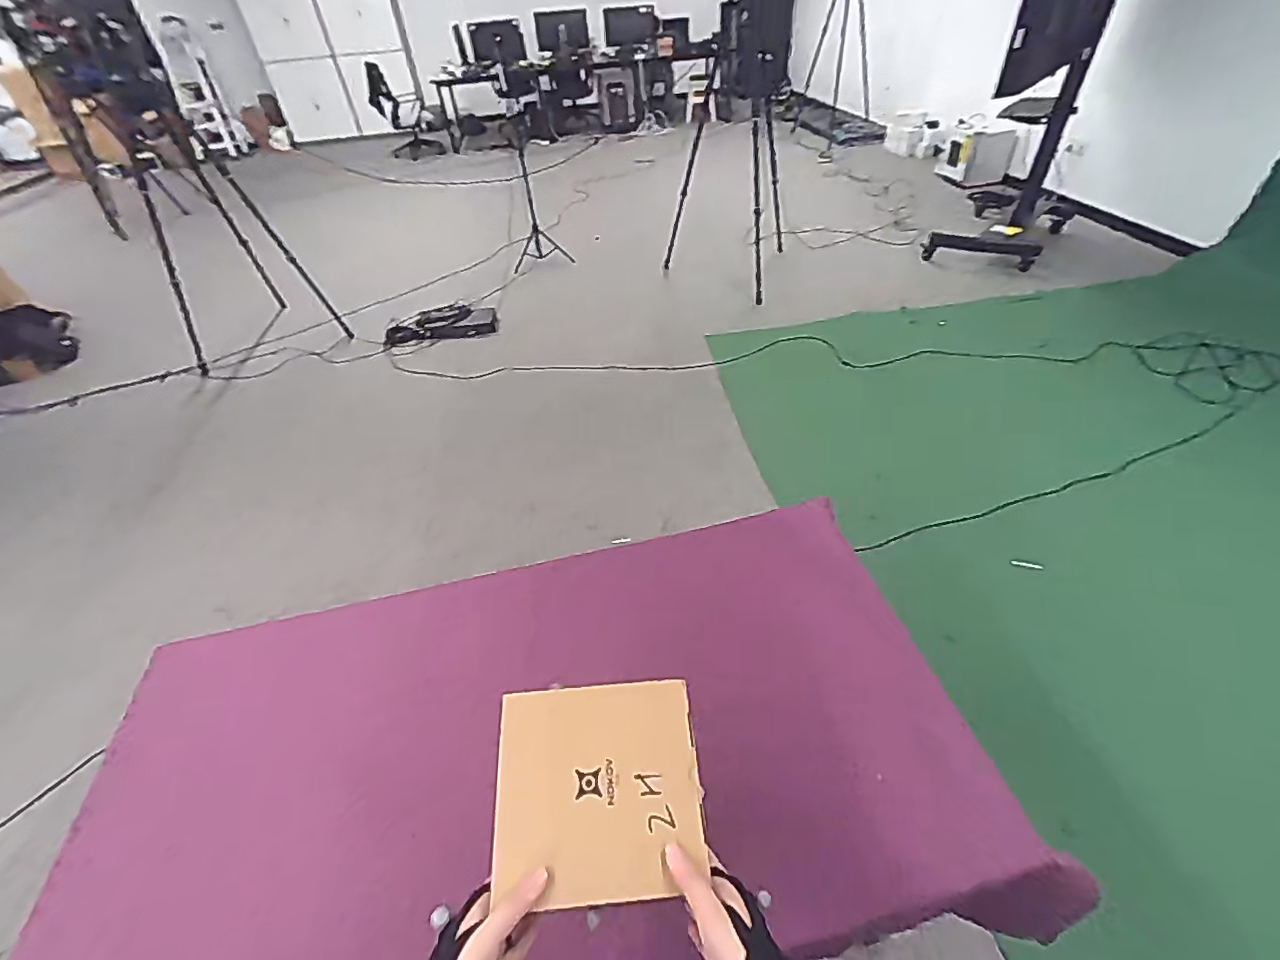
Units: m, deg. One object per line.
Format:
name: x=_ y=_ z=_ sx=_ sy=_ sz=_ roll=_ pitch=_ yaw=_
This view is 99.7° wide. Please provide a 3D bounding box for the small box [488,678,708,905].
small box: x=-0.036 y=0.308 z=0.531 sx=0.179 sy=0.176 sz=0.168 roll=-4 pitch=54 yaw=-2
